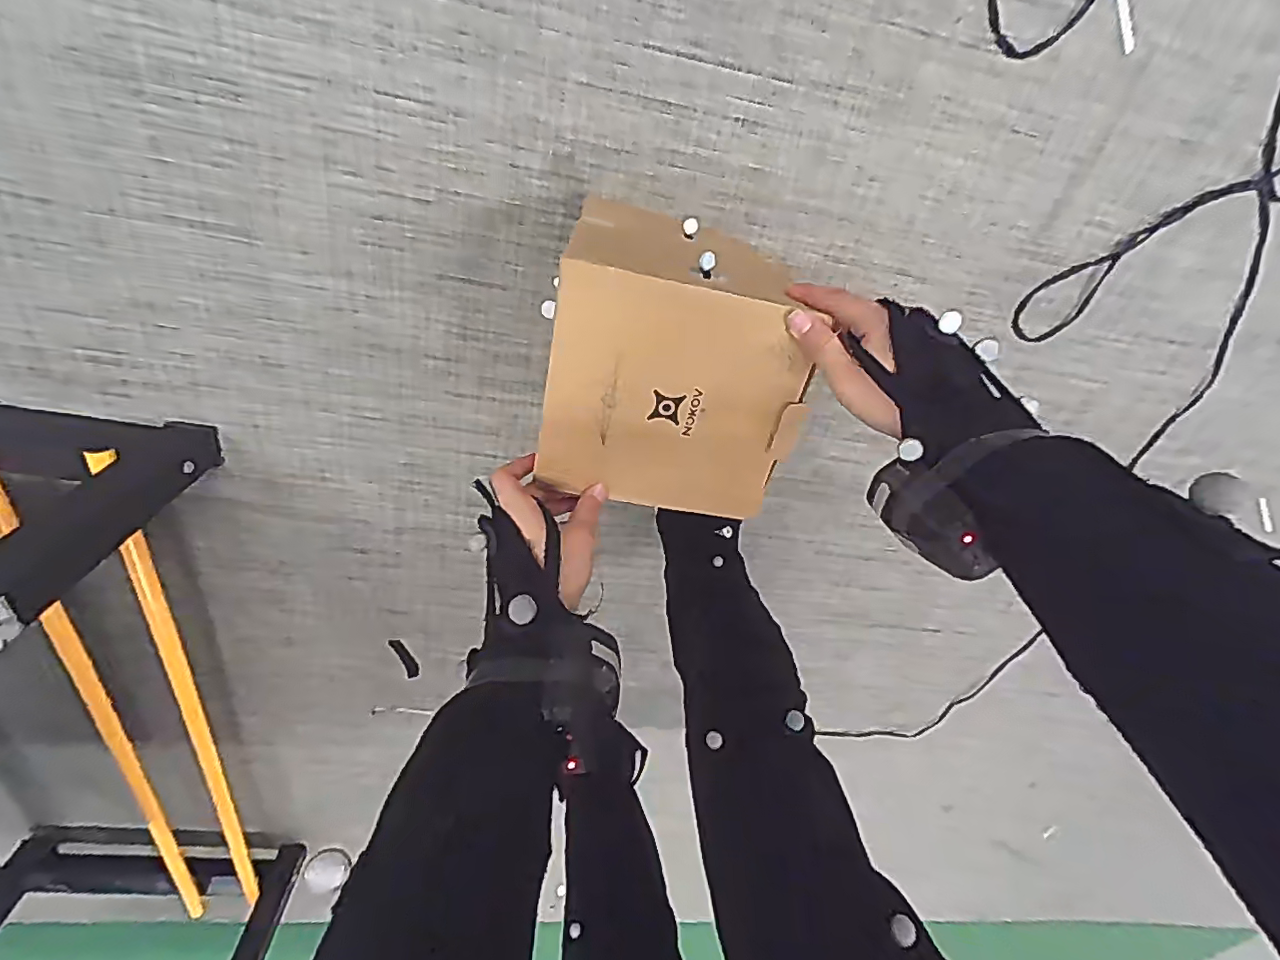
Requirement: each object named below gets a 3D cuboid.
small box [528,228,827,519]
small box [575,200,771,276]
[{"bbox_3d":[0.016,-0.092,0.438,0.179,0.176,0.168,10,121,-8],"label":"small box"},{"bbox_3d":[0.009,-0.183,0.574,0.179,0.176,0.168,10,122,-11],"label":"small box"}]
